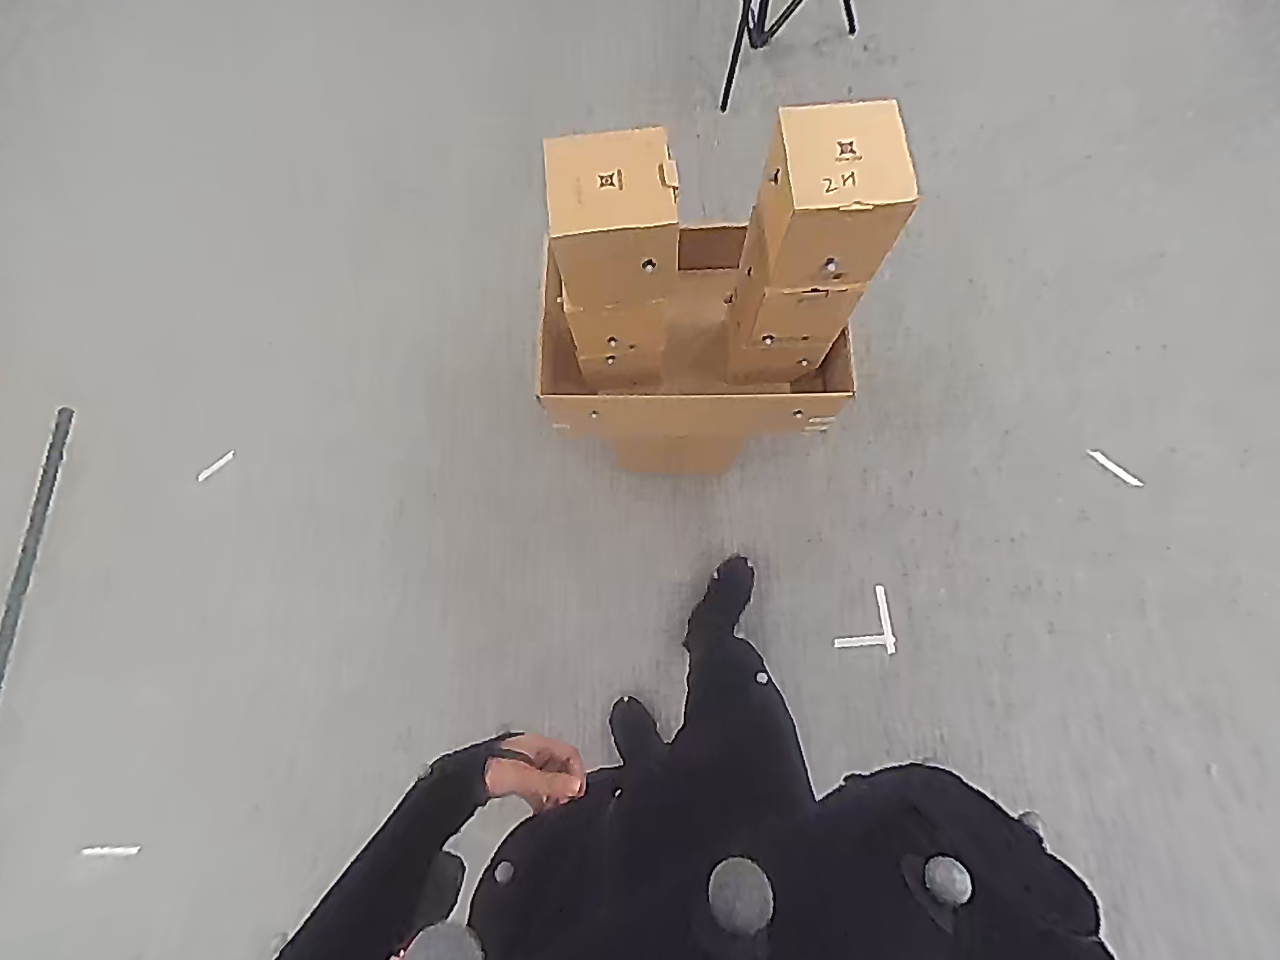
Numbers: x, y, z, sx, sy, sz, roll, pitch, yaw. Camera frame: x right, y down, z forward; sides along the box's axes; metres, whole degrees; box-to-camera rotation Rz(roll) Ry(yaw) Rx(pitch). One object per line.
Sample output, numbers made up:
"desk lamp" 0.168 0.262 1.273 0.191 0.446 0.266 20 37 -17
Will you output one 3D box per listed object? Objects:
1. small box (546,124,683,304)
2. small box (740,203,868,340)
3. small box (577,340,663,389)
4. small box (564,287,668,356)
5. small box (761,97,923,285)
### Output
"small box" -0.035 -0.382 0.799 0.179 0.176 0.168 -6 76 0
"small box" 0.276 -0.357 0.947 0.168 0.176 0.179 -4 75 0
"small box" -0.039 -0.306 1.118 0.168 0.176 0.179 -4 75 2
"small box" -0.044 -0.342 0.958 0.168 0.176 0.179 -7 76 1
"small box" 0.279 -0.413 0.791 0.168 0.176 0.179 -4 76 1
